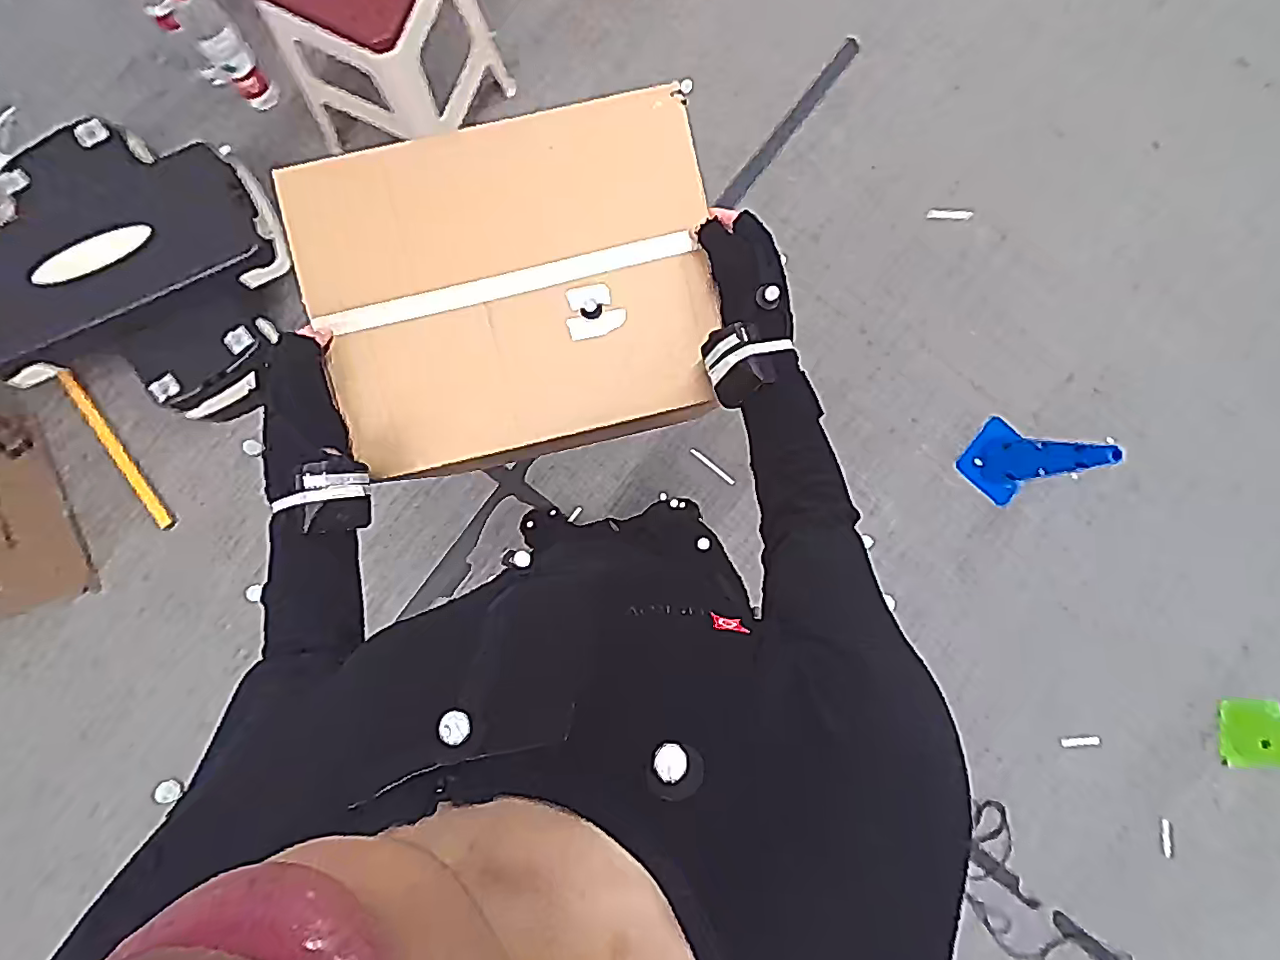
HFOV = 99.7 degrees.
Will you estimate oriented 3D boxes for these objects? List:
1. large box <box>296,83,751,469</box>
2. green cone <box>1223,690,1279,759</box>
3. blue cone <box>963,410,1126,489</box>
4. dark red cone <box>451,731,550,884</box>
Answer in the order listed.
[{"bbox_3d":[-0.119,-0.207,0.687,0.408,0.320,0.320,-13,93,-2],"label":"large box"},{"bbox_3d":[1.848,0.723,1.439,0.200,0.368,0.202,0,88,-5],"label":"green cone"},{"bbox_3d":[1.060,-0.089,1.405,0.193,0.380,0.192,41,86,-3],"label":"blue cone"},{"bbox_3d":[-0.354,0.789,1.264,0.202,0.394,0.201,44,86,-3],"label":"dark red cone"}]
